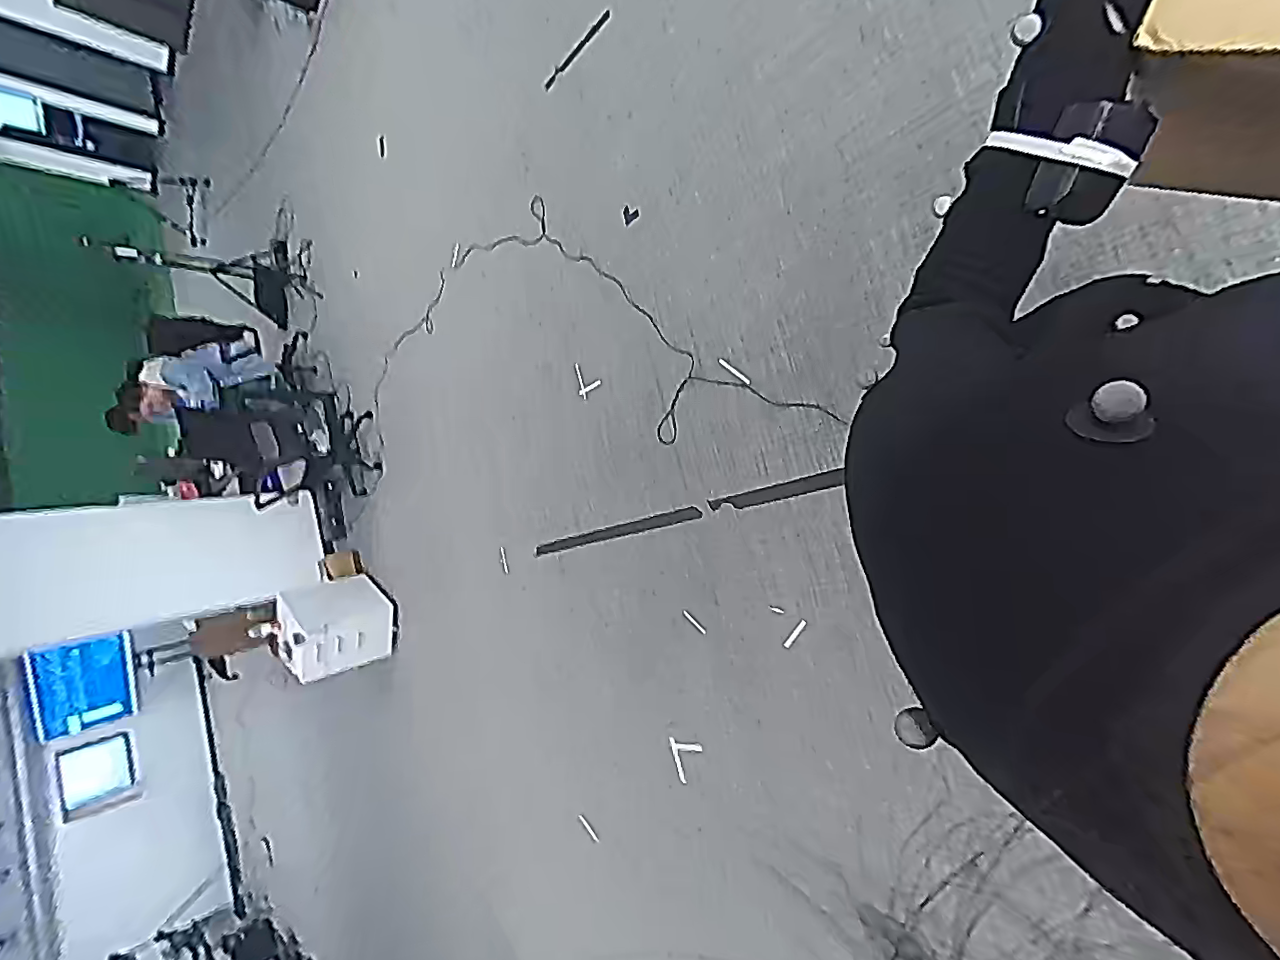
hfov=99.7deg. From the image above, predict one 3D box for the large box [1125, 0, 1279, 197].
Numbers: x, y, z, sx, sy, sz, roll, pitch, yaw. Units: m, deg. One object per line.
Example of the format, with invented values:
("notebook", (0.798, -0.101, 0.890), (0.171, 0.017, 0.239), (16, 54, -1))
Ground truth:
("large box", (0.569, -0.334, 0.271), (0.408, 0.320, 0.320), (30, 118, 33))
